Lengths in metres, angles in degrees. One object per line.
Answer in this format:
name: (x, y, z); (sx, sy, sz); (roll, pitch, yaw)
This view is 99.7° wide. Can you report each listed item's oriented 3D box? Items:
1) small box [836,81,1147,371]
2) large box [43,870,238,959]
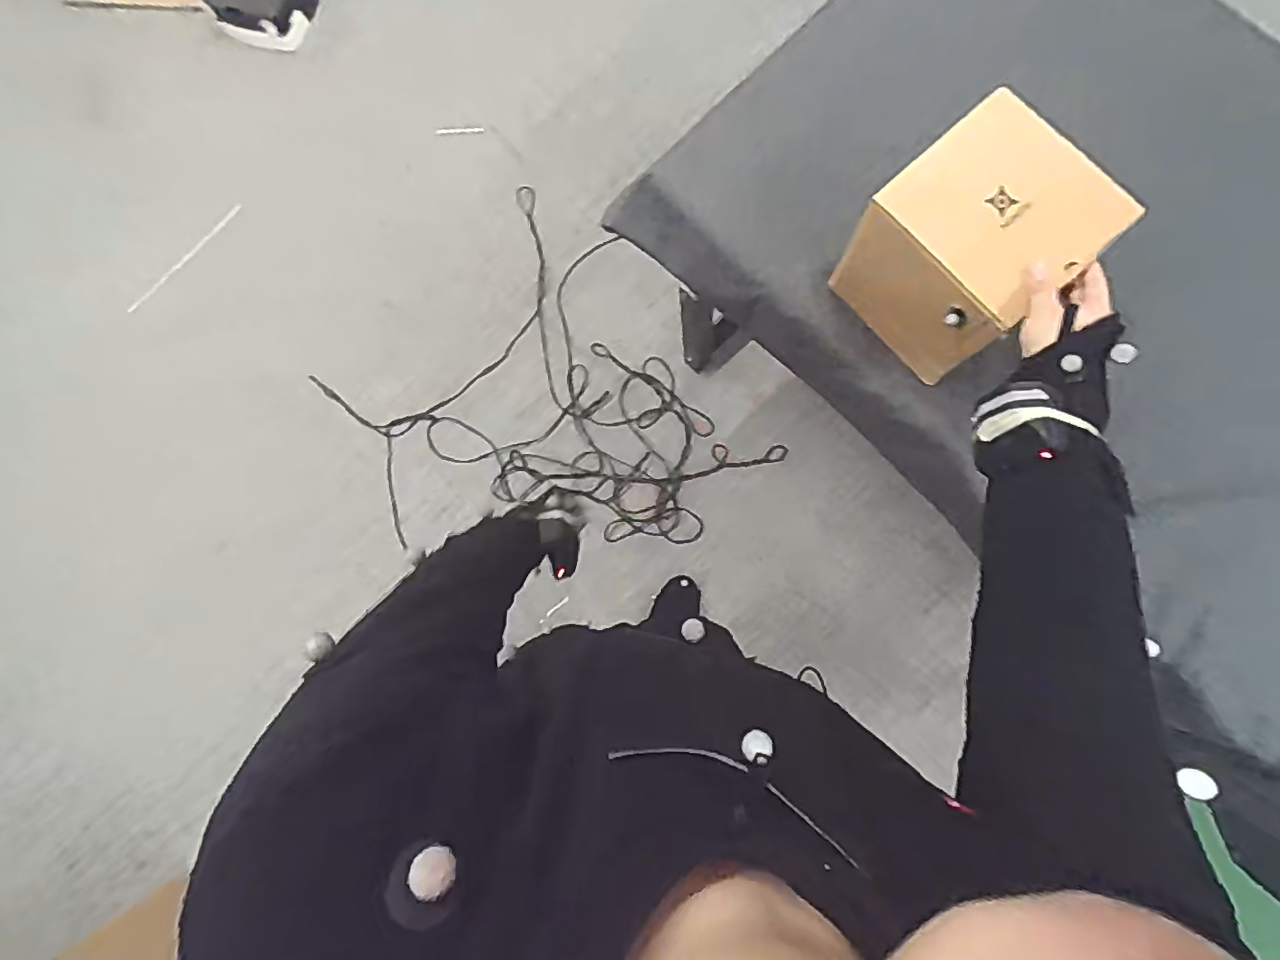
small box: (0.337, -0.244, 0.564); (0.168, 0.176, 0.179); (-41, 82, 0)
large box: (-1.186, 1.235, 1.232); (0.320, 0.320, 0.408); (-36, 79, 0)
